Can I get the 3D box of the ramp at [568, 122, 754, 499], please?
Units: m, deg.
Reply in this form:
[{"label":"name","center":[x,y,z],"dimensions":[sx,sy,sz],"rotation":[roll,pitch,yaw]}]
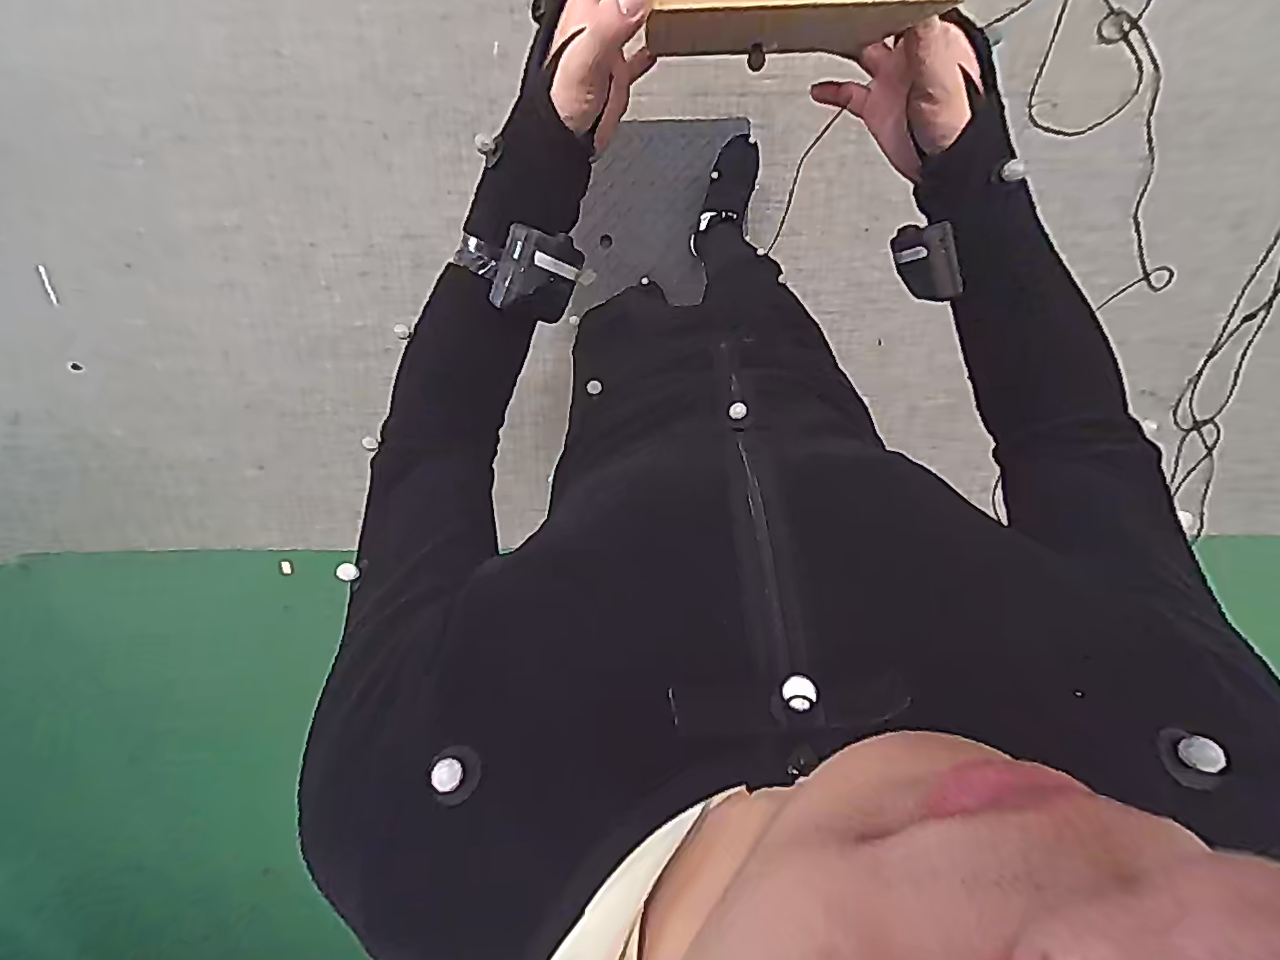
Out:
[{"label":"ramp","center":[0.065,-0.435,1.510],"dimensions":[0.509,0.206,0.991],"rotation":[-3,113,2]}]
